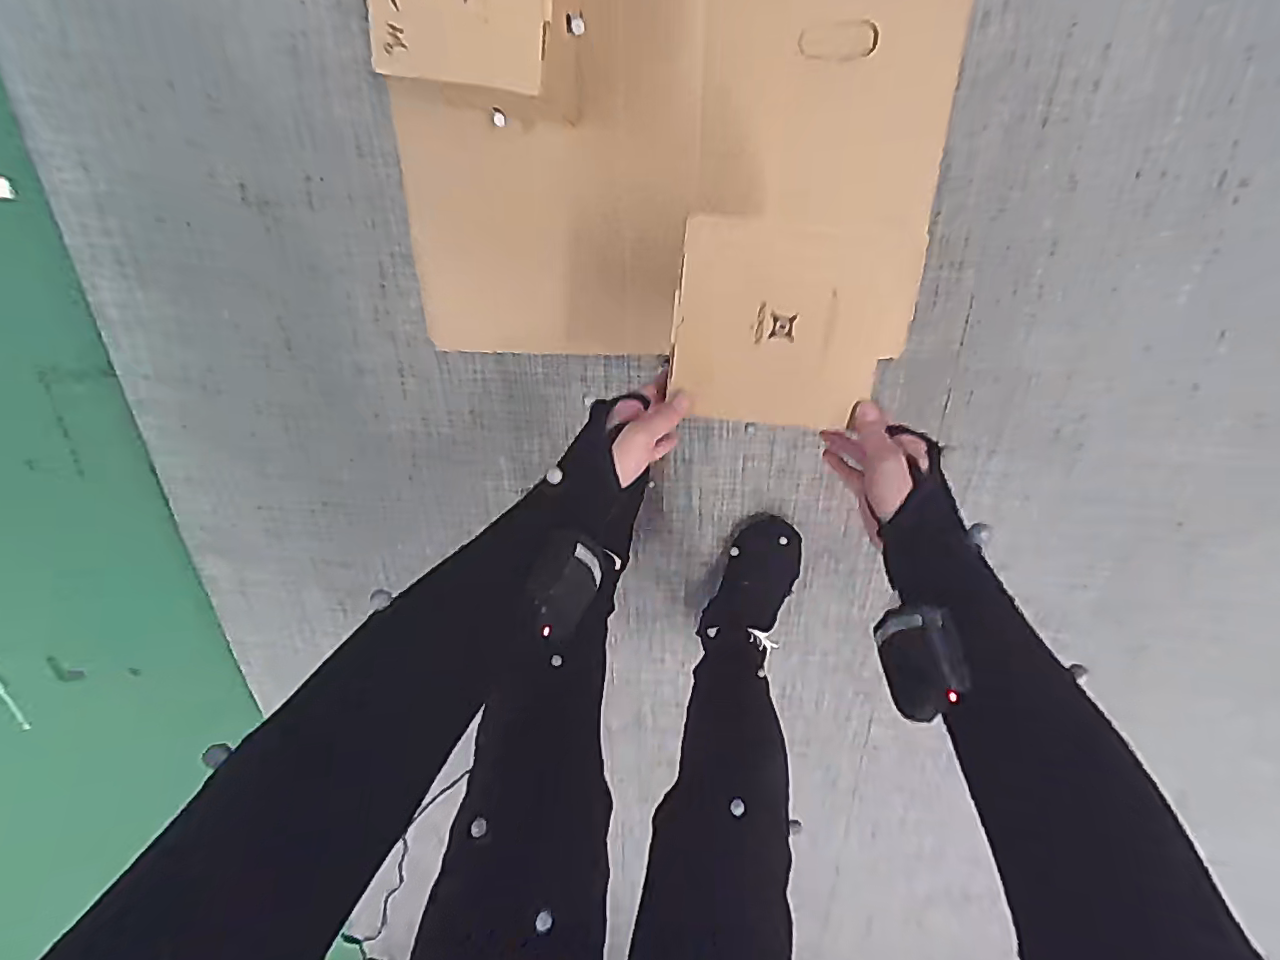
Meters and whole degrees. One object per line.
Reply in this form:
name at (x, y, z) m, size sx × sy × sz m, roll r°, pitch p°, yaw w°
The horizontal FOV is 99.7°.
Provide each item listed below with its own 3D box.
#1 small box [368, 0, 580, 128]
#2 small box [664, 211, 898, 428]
small box at (-0.164, -0.493, 0.577) m, size 0.179 × 0.176 × 0.168 m, roll 10°, pitch 115°, yaw 0°
small box at (0.120, -0.150, 0.538) m, size 0.179 × 0.176 × 0.168 m, roll 6°, pitch 103°, yaw 1°
